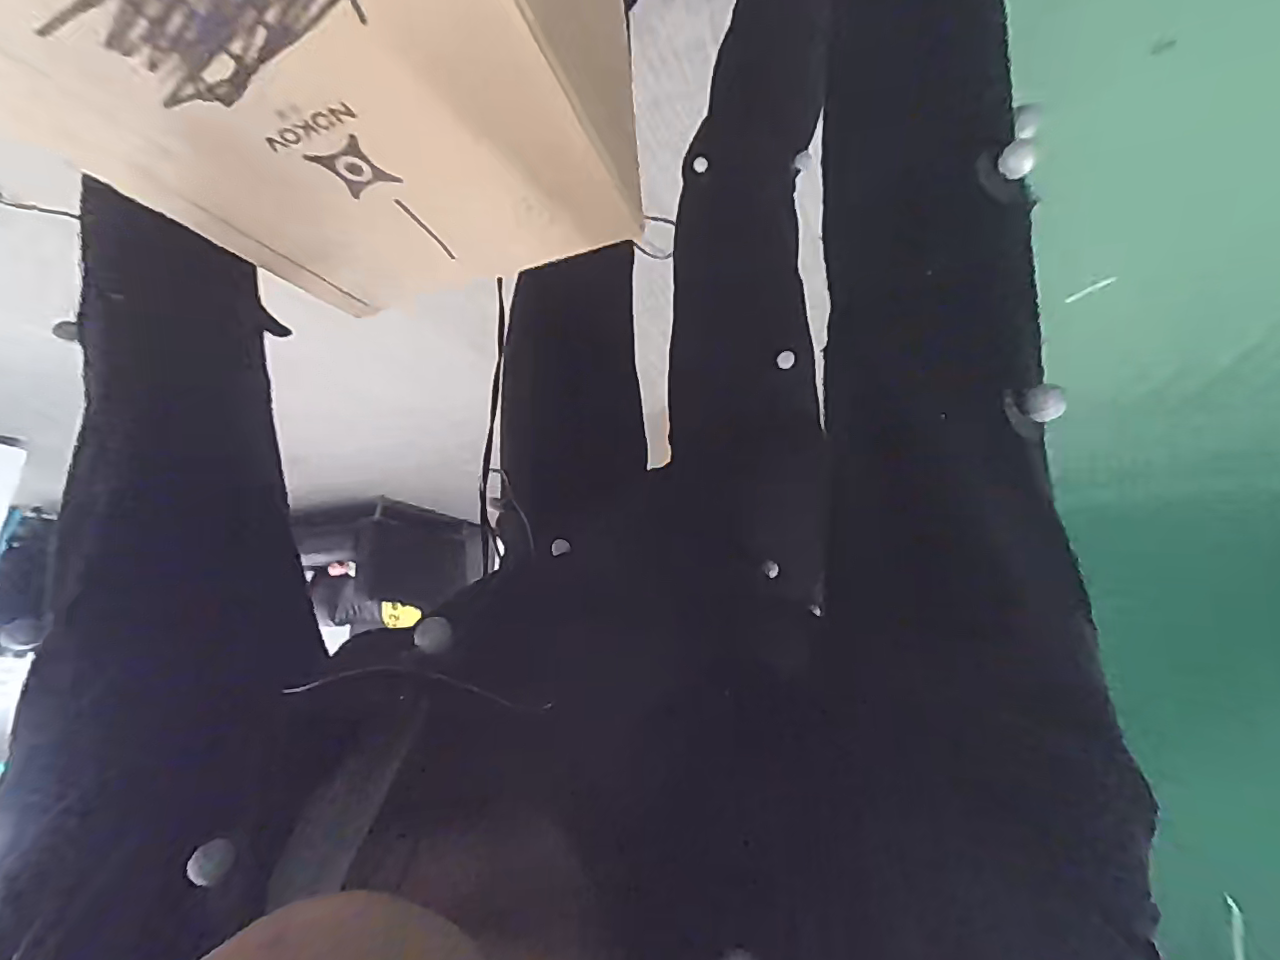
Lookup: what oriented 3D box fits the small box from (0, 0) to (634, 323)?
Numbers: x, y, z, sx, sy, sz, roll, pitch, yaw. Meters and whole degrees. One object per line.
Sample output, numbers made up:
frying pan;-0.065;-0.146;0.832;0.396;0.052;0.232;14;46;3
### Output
small box;-0.112;-0.188;0.196;0.168;0.176;0.179;-8;168;17
